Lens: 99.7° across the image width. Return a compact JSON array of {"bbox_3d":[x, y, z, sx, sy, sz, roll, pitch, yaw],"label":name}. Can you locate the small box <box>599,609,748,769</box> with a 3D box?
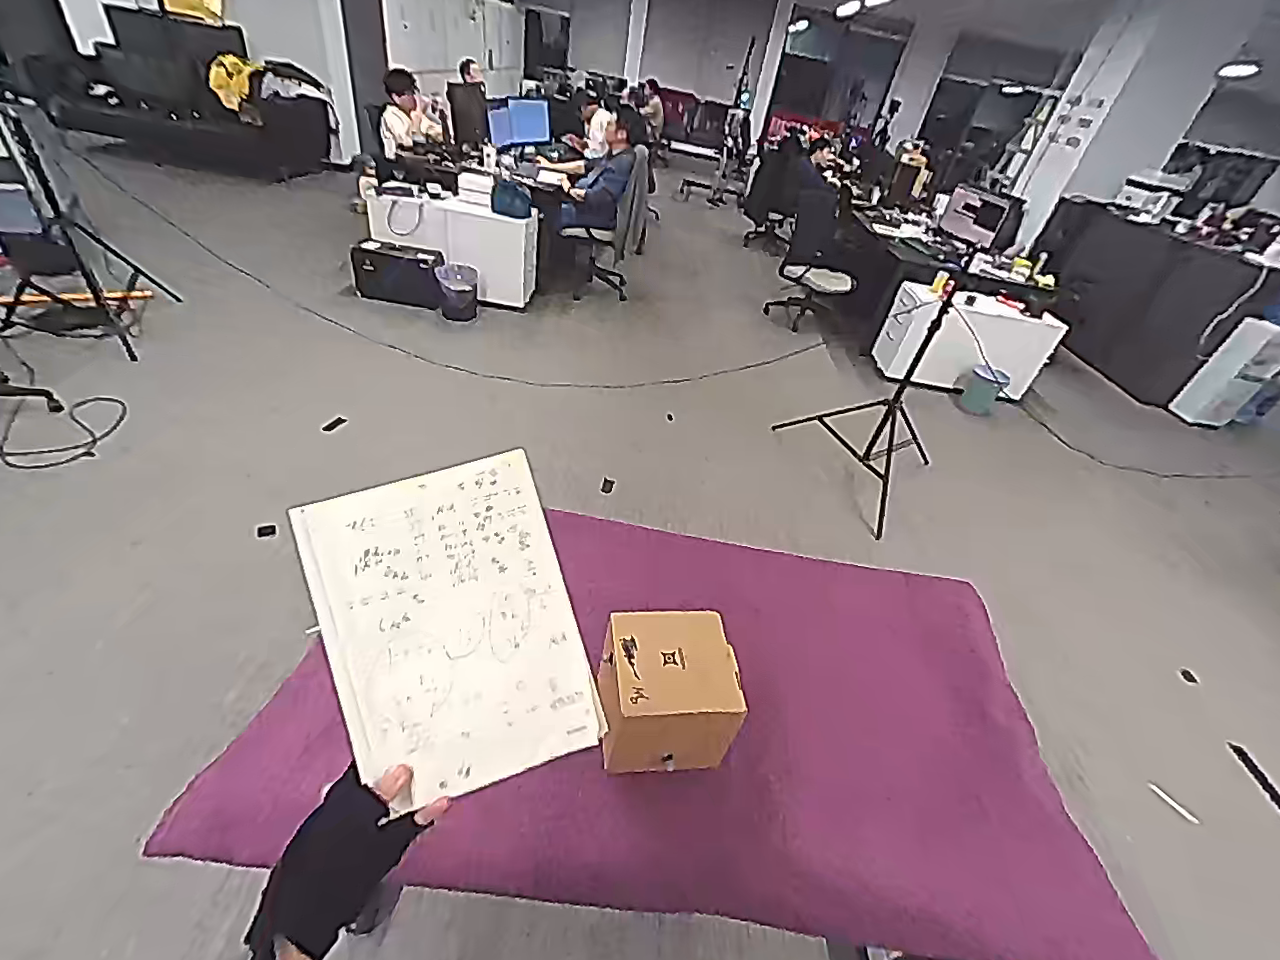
[{"bbox_3d":[0.039,0.315,0.816,0.179,0.176,0.168,3,37,-11],"label":"small box"}]
